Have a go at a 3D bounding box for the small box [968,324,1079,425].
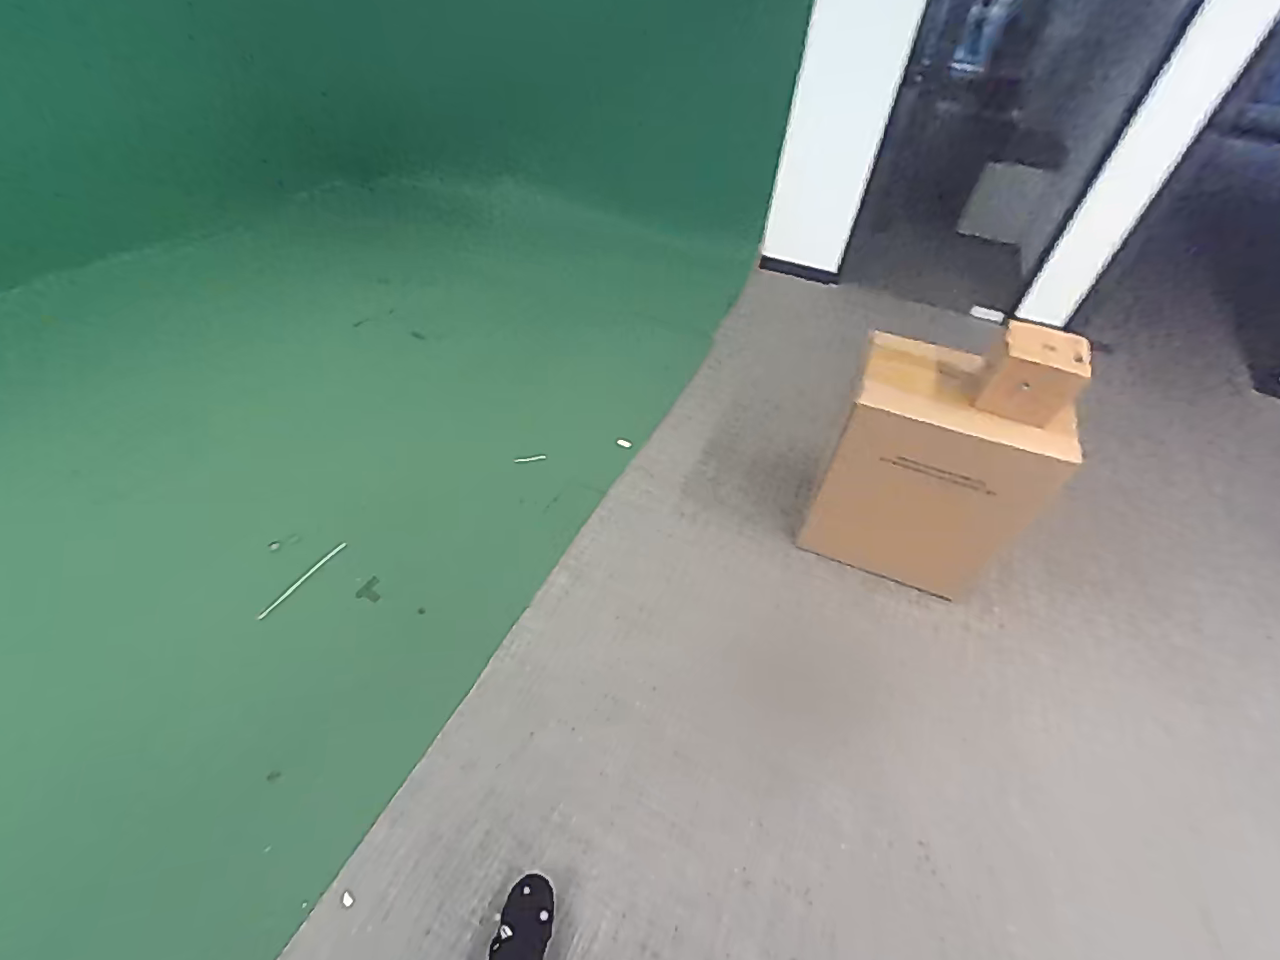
[{"bbox_3d":[0.963,-0.264,1.370,0.179,0.176,0.168,20,53,14],"label":"small box"}]
